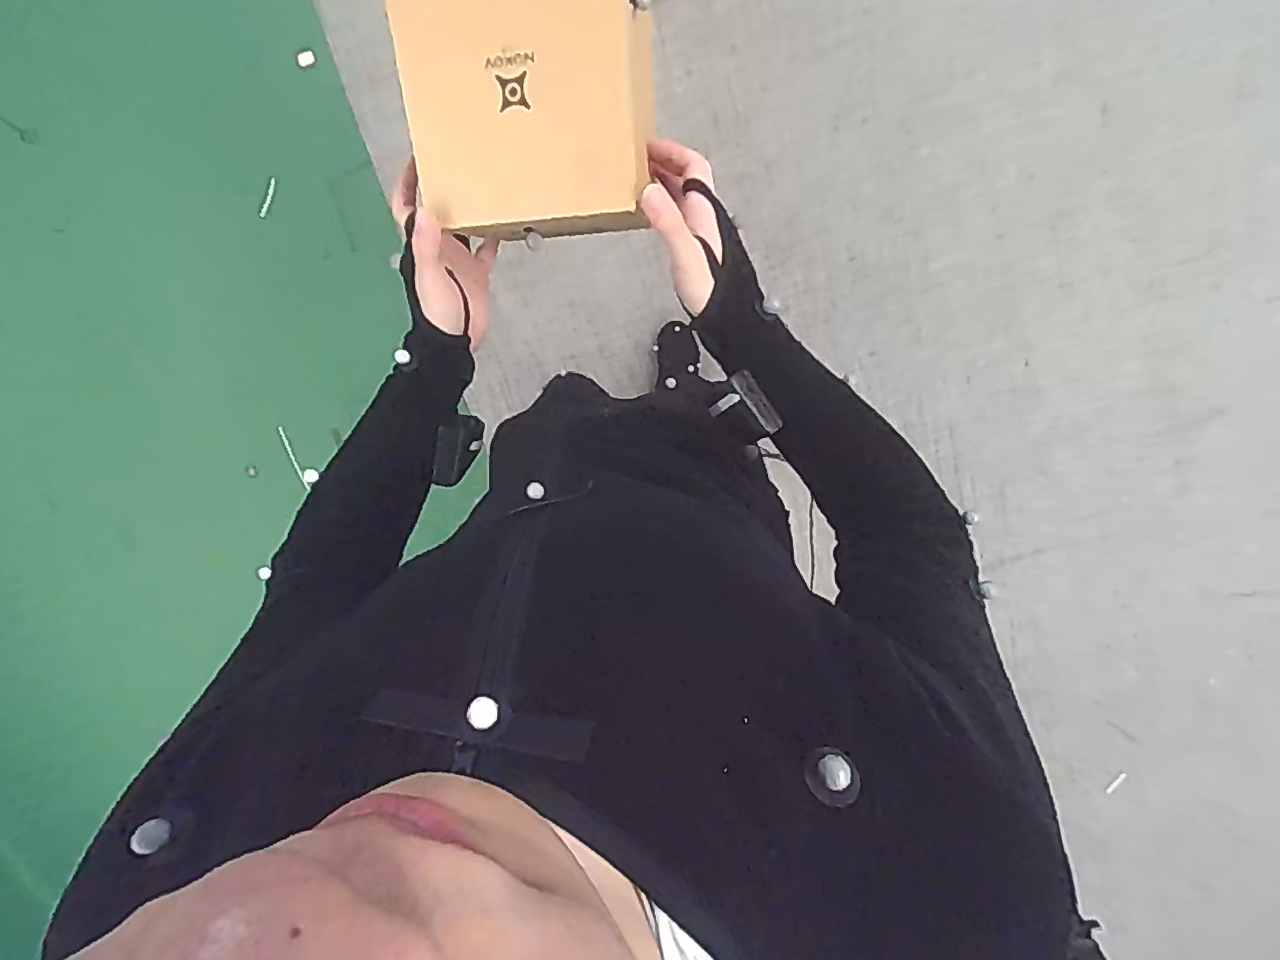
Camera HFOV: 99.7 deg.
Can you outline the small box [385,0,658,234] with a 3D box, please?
[{"bbox_3d":[-0.078,-0.307,0.447,0.168,0.176,0.179,-1,108,9],"label":"small box"}]
